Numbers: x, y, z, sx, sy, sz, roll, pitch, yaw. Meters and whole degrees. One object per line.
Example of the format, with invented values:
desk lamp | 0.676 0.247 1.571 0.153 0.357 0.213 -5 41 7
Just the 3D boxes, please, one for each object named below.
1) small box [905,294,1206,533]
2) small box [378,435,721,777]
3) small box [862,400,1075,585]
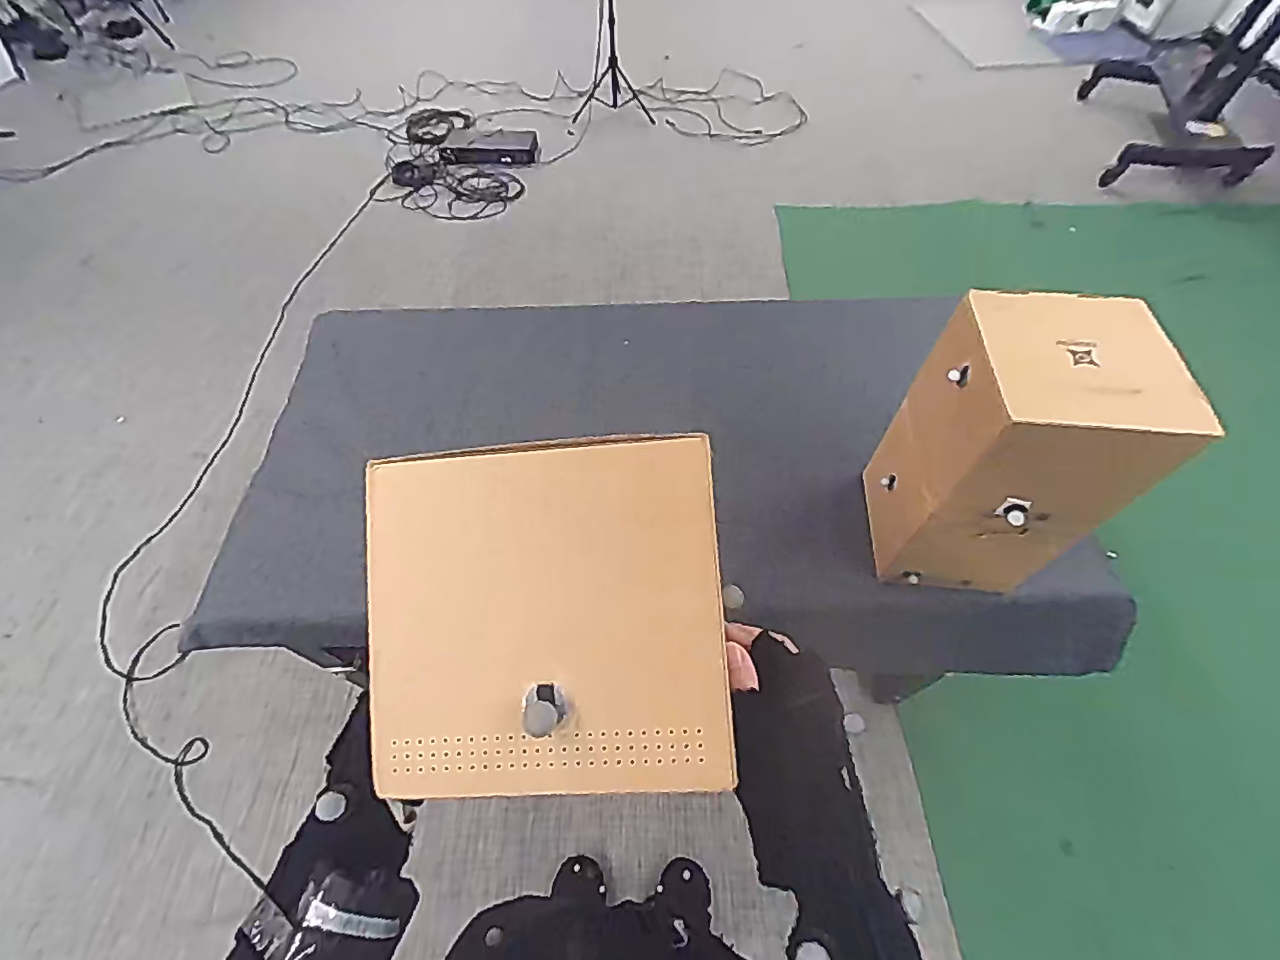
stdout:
small box | 0.397 -0.066 0.563 0.168 0.176 0.179 5 57 6
small box | -0.041 0.070 0.350 0.179 0.168 0.176 -5 85 5
small box | 0.403 0.021 0.699 0.168 0.176 0.179 5 55 5
